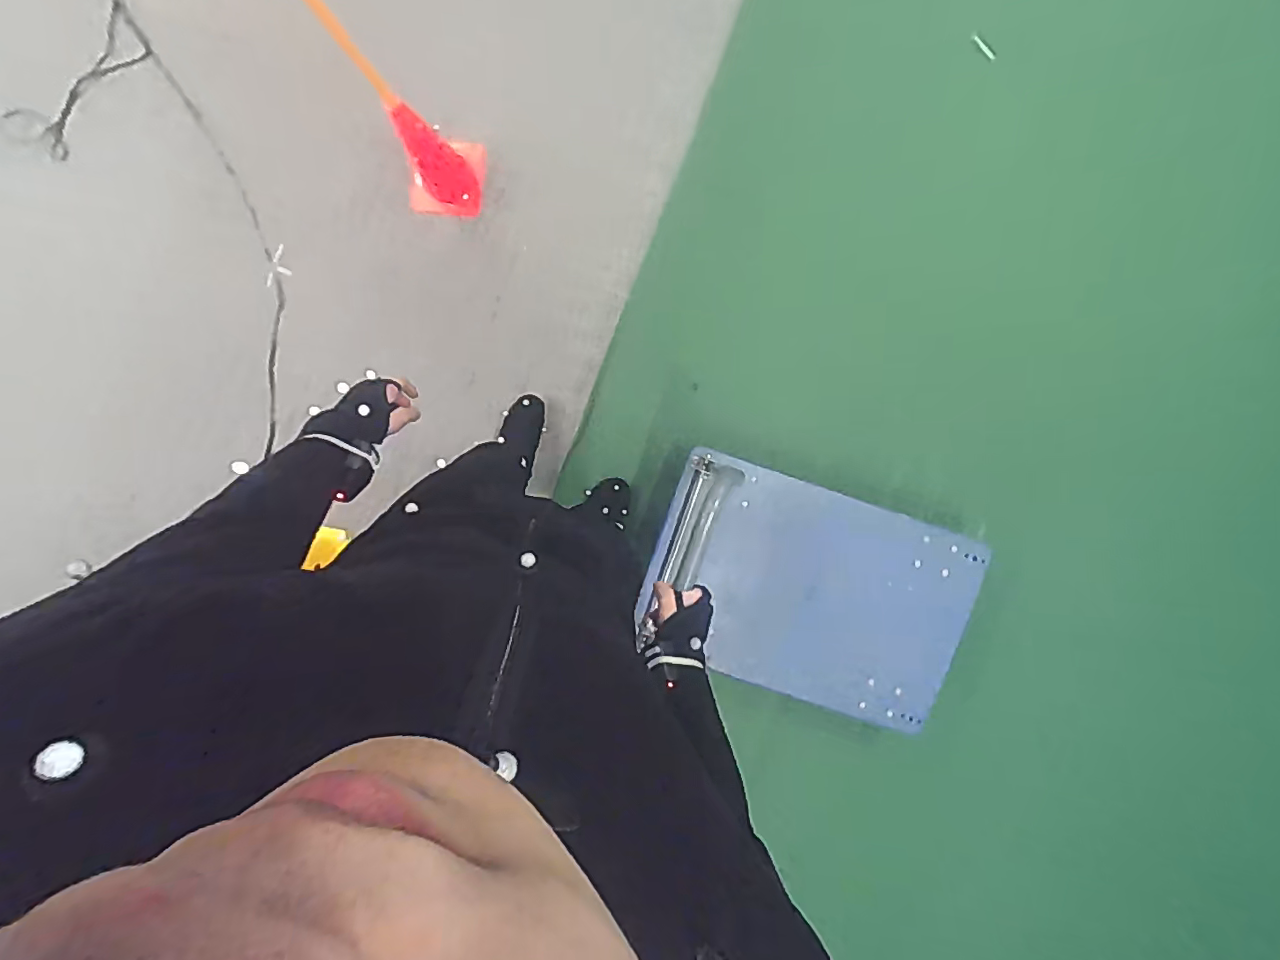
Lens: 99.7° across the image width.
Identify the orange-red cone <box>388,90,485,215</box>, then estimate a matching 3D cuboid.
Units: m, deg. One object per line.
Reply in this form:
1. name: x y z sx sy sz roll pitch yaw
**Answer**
1. orange-red cone: -0.542 -0.853 1.363 0.198 0.360 0.199 7 93 -2
